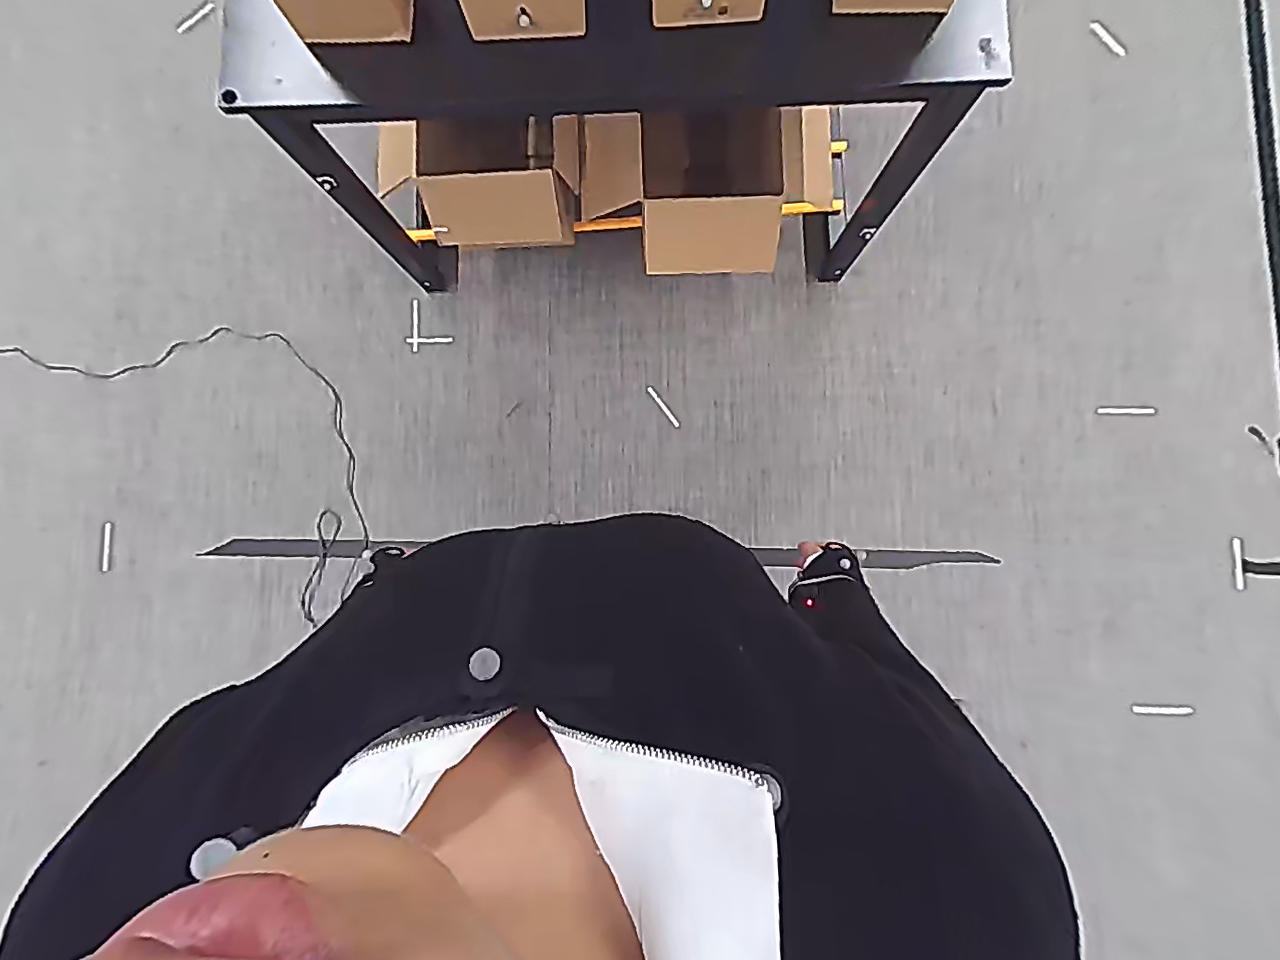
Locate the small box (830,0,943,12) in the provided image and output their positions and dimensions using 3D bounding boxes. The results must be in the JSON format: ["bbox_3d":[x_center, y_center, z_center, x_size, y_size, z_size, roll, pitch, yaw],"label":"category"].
[{"bbox_3d":[0.375,-0.789,0.739,0.179,0.176,0.168,1,85,2],"label":"small box"}]

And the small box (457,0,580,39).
[{"bbox_3d":[-0.176,-0.761,0.752,0.179,0.176,0.168,-2,85,0],"label":"small box"}]

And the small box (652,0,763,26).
[{"bbox_3d":[0.096,-0.783,0.747,0.168,0.176,0.179,-3,86,1],"label":"small box"}]

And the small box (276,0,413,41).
[{"bbox_3d":[-0.439,-0.761,0.758,0.179,0.176,0.168,0,87,0],"label":"small box"}]
